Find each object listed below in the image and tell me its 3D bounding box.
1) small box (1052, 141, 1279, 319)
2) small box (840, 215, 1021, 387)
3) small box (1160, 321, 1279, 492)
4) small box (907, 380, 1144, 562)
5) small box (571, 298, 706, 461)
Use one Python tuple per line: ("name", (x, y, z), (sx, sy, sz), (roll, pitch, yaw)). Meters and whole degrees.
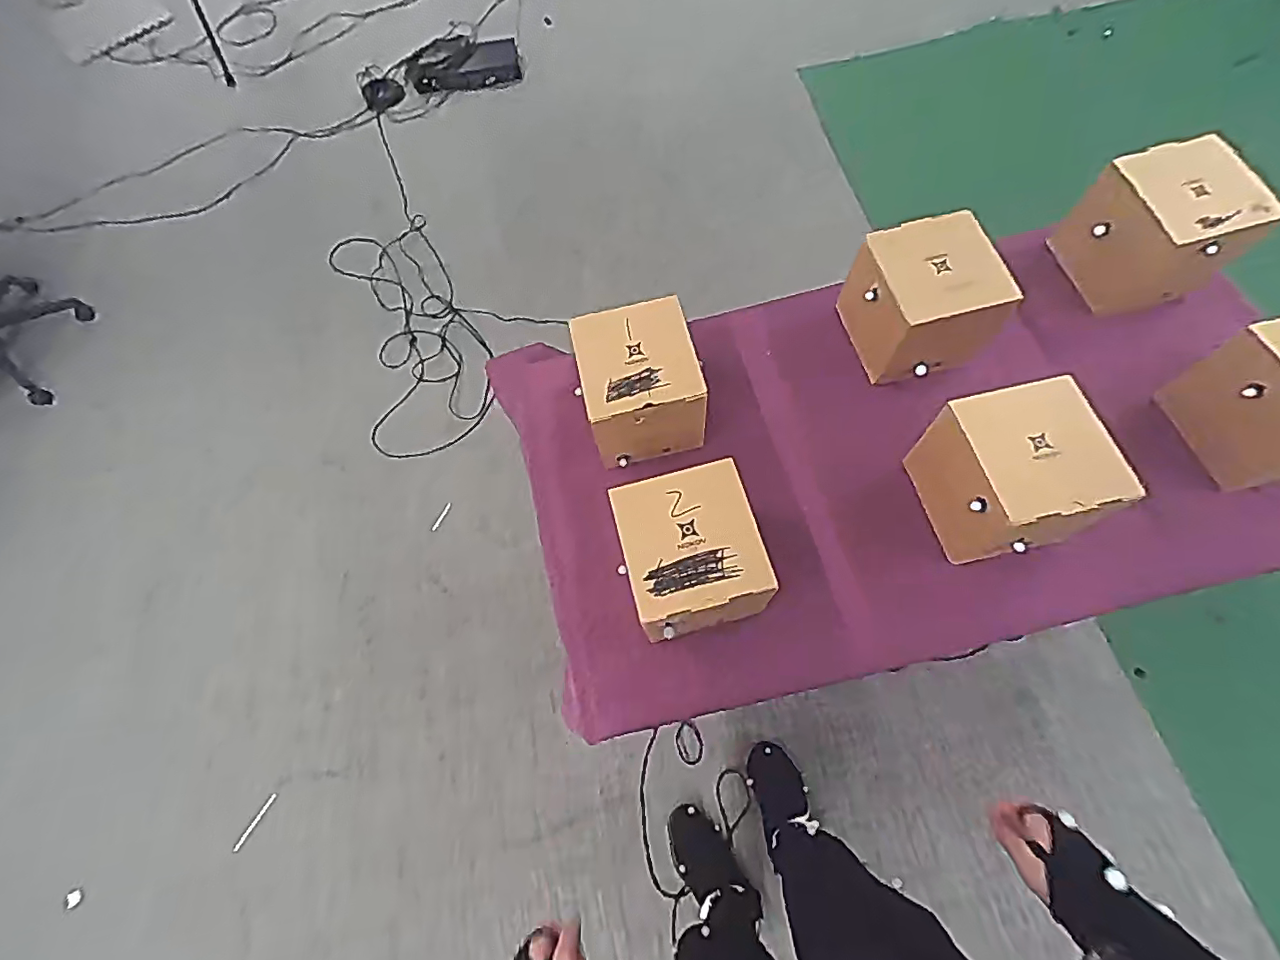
("small box", (0.819, -0.392, 0.866), (0.168, 0.176, 0.179), (-14, 68, 1))
("small box", (0.439, -0.276, 0.854), (0.168, 0.176, 0.179), (-13, 68, 0))
("small box", (0.889, -0.105, 0.739), (0.168, 0.176, 0.179), (-13, 66, 1))
("small box", (0.497, -0.006, 0.735), (0.168, 0.176, 0.179), (-12, 66, -1))
("small box", (0.001, -0.143, 0.832), (0.168, 0.176, 0.179), (-13, 67, -1))
